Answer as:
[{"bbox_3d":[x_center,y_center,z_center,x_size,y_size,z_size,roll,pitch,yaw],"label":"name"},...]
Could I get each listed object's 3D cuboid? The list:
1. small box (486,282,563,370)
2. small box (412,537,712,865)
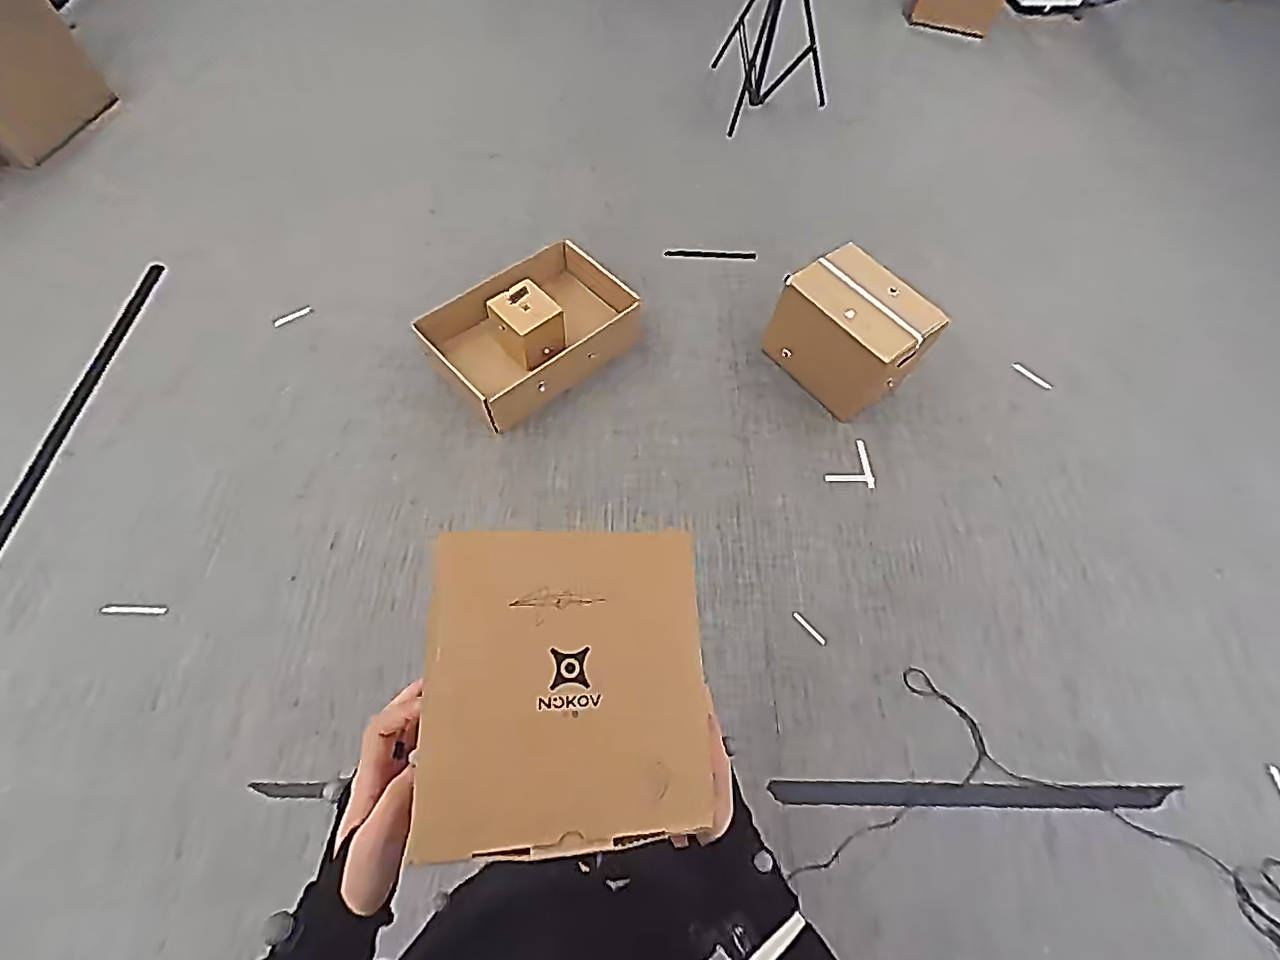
[{"bbox_3d":[-0.364,-0.490,1.734,0.168,0.176,0.179,-40,72,-21],"label":"small box"},{"bbox_3d":[-0.058,0.148,0.395,0.168,0.176,0.179,1,67,-13],"label":"small box"}]
